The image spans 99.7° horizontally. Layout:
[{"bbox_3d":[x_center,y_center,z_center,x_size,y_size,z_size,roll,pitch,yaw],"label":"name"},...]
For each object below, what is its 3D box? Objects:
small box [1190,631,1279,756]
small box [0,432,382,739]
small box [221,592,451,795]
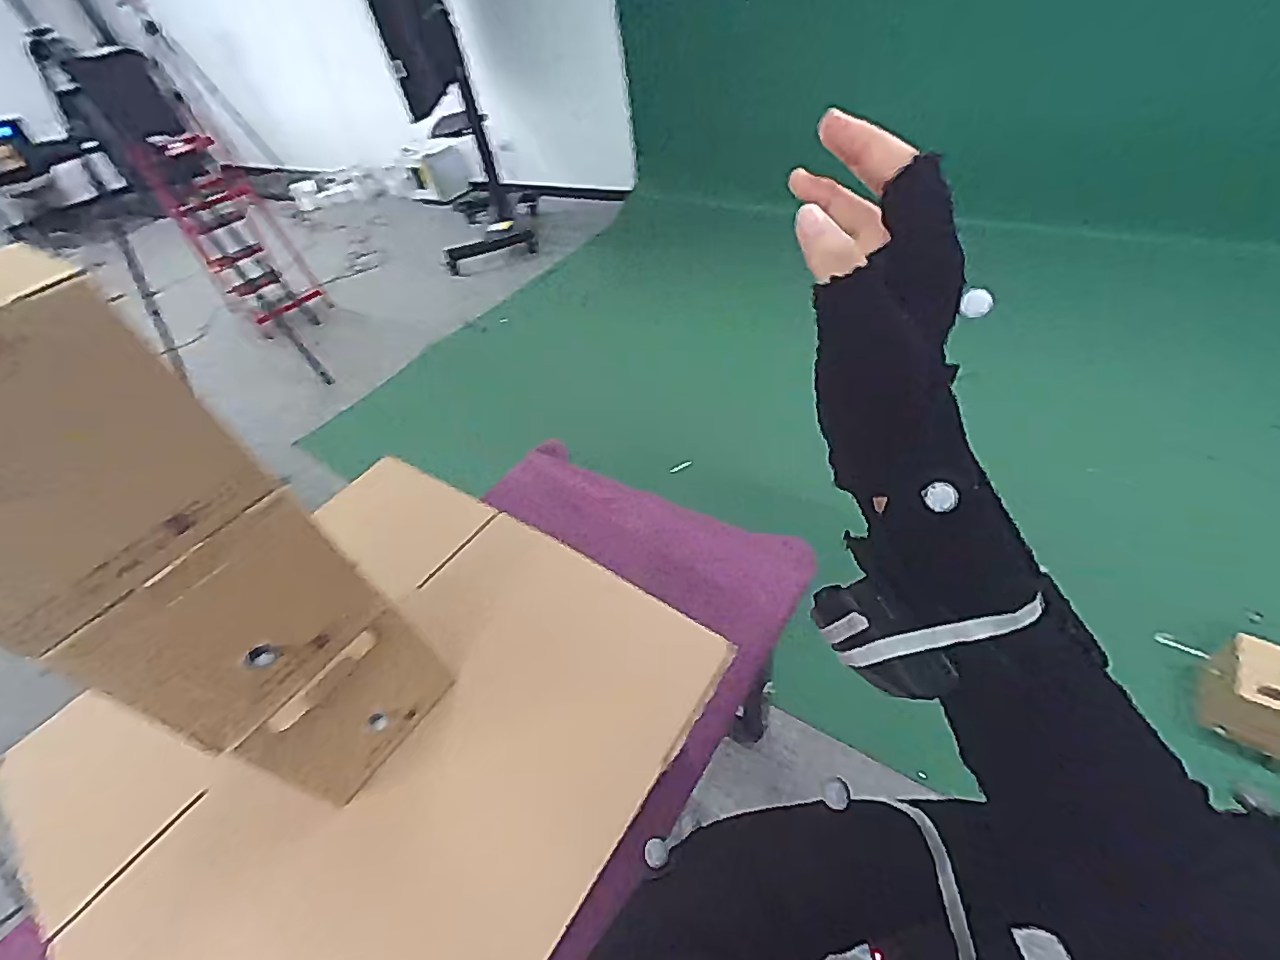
[{"bbox_3d":[1.403,0.488,1.226,0.168,0.176,0.179,23,54,29],"label":"small box"},{"bbox_3d":[-0.371,0.089,0.470,0.179,0.176,0.168,21,54,30],"label":"small box"},{"bbox_3d":[-0.344,0.202,0.585,0.179,0.176,0.168,21,54,30],"label":"small box"}]
